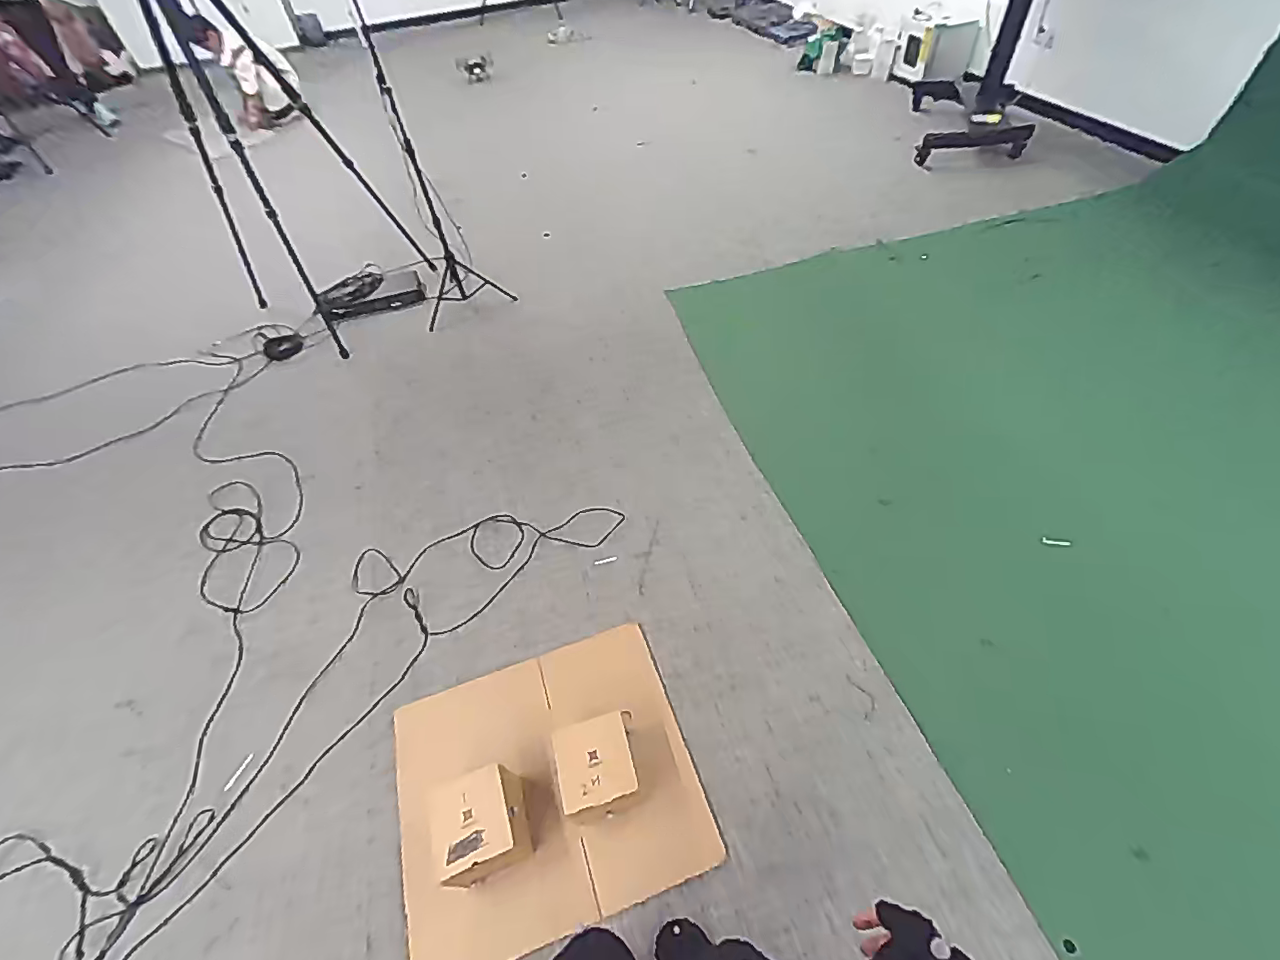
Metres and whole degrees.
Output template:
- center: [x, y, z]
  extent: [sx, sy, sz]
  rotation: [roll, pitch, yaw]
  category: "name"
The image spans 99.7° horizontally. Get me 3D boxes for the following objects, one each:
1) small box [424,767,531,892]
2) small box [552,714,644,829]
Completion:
- center: [-0.352, 0.768, 1.185]
  extent: [0.168, 0.176, 0.179]
  rotation: [-20, 51, -10]
  category: "small box"
- center: [-0.095, 0.672, 1.242]
  extent: [0.168, 0.176, 0.179]
  rotation: [-16, 51, -6]
  category: "small box"
